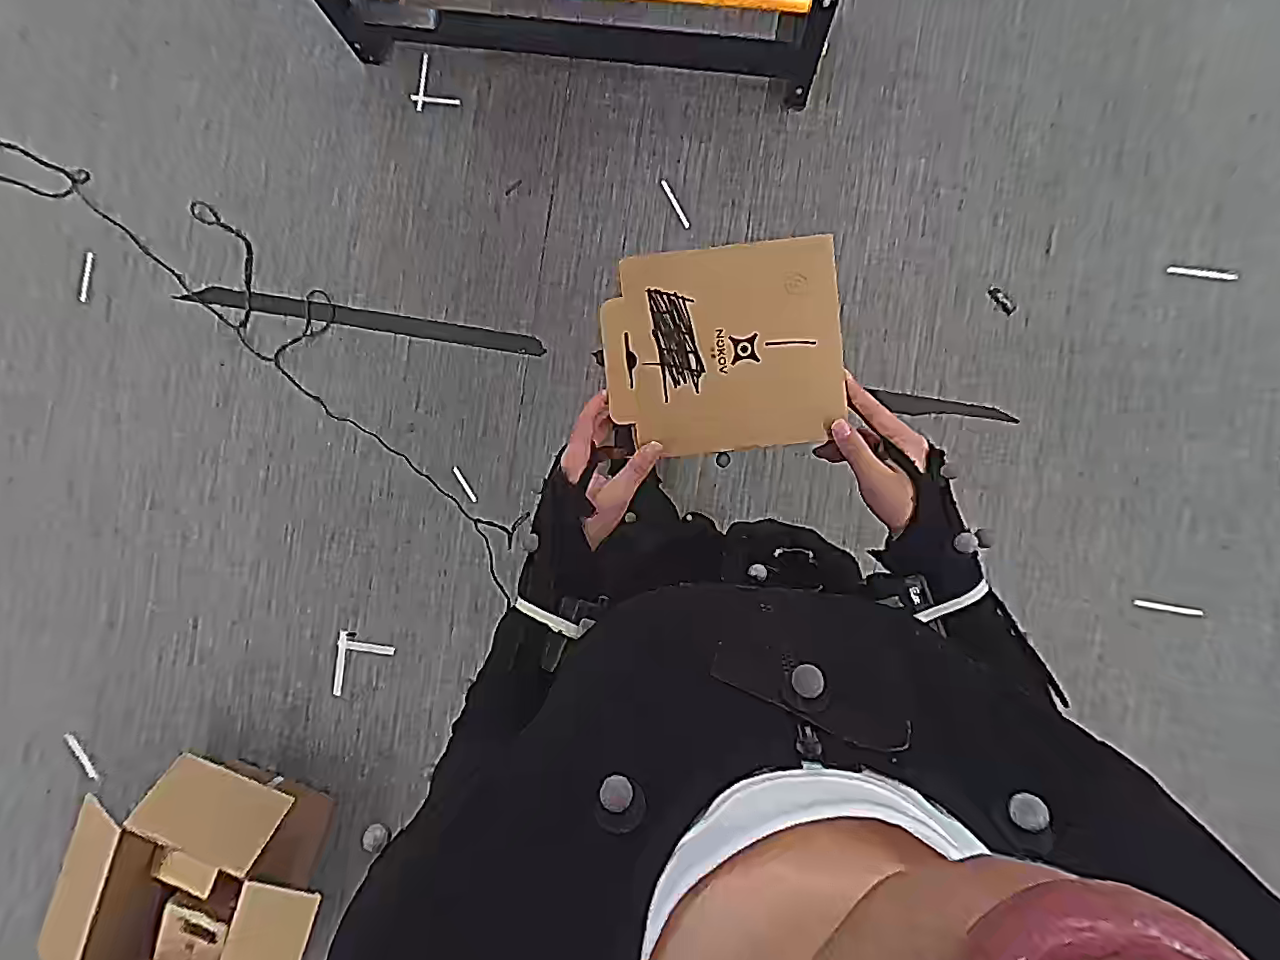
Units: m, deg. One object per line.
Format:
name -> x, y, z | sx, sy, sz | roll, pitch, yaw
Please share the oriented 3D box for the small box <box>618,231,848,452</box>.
small box -> 0.079, -0.115, 0.519 | 0.179, 0.176, 0.168 | -6, 93, 2
